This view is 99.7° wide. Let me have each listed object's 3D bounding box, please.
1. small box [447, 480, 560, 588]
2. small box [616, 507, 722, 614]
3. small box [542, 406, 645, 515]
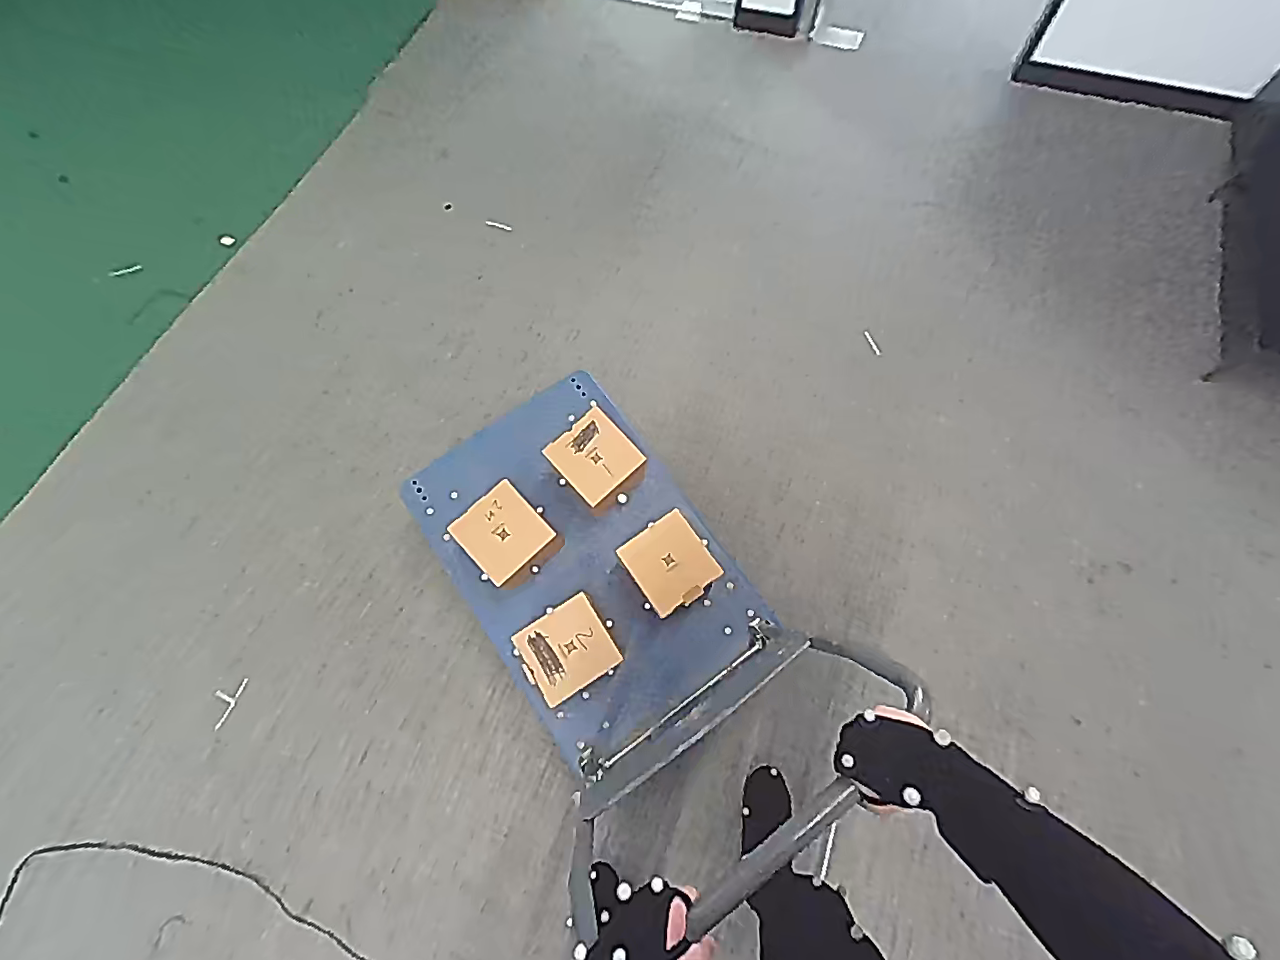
[{"bbox_3d":[-0.301,0.130,1.237,0.168,0.176,0.179,-43,80,-11],"label":"small box"},{"bbox_3d":[0.059,0.190,1.232,0.168,0.176,0.179,-35,80,-9],"label":"small box"},{"bbox_3d":[-0.107,-0.037,1.285,0.168,0.176,0.179,-42,81,-10],"label":"small box"}]
